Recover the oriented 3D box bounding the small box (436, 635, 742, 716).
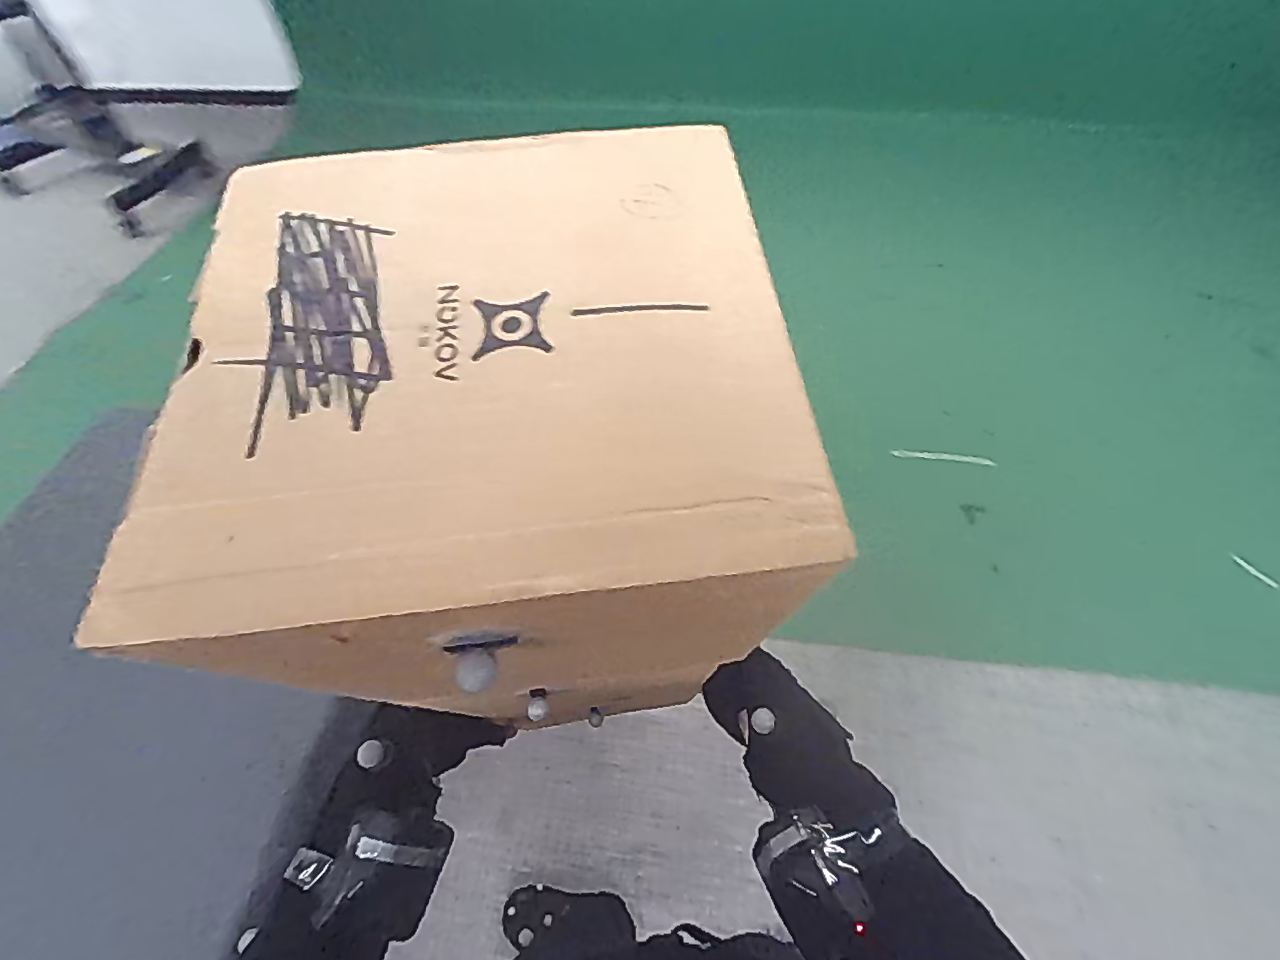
[{"bbox_3d":[-0.039,0.061,0.391,0.168,0.176,0.179,-9,64,-4],"label":"small box"}]

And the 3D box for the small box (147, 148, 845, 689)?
[{"bbox_3d":[-0.040,-0.009,0.239,0.179,0.176,0.168,-6,64,-2],"label":"small box"}]
